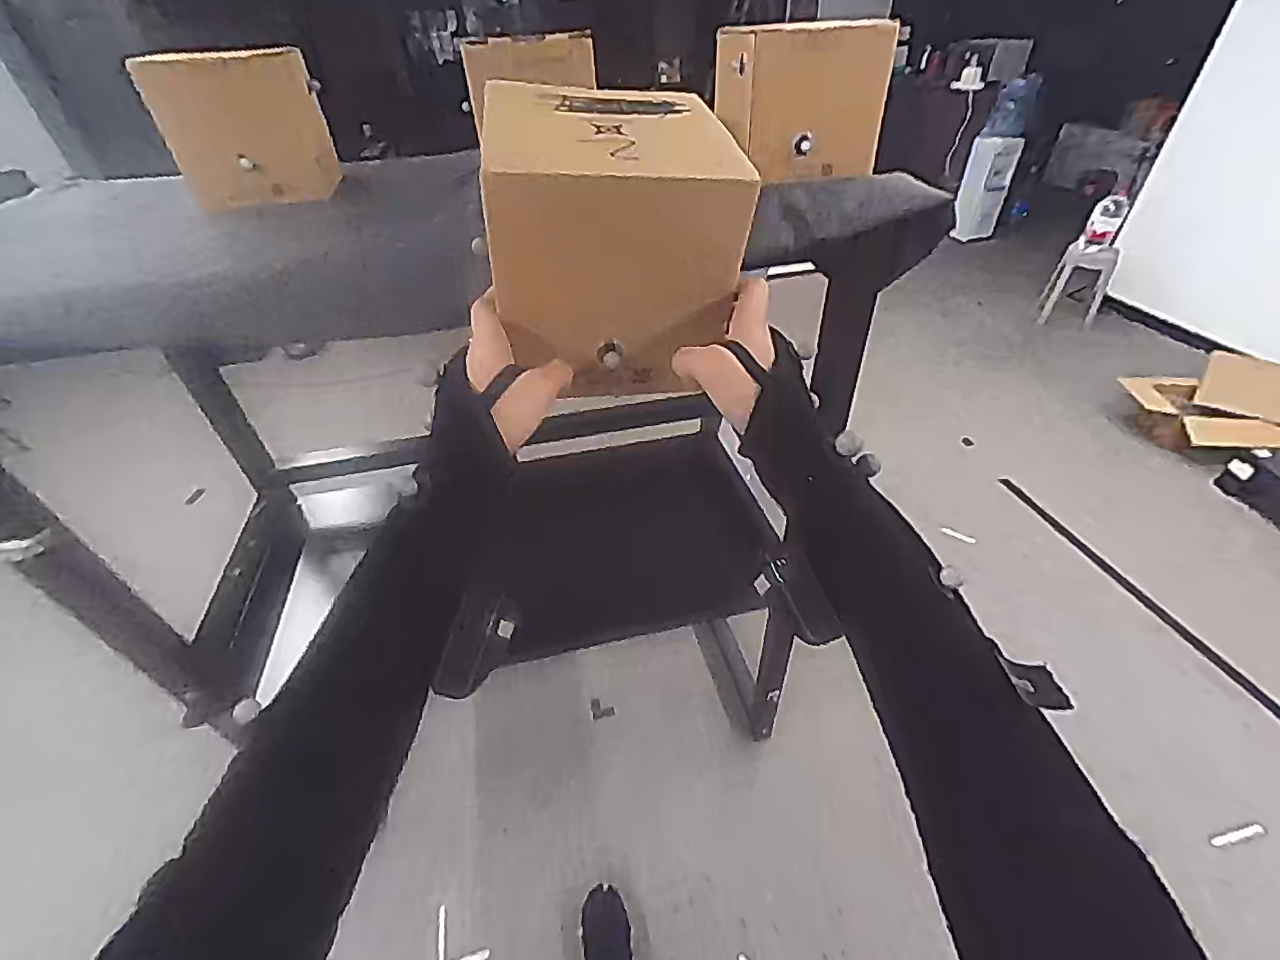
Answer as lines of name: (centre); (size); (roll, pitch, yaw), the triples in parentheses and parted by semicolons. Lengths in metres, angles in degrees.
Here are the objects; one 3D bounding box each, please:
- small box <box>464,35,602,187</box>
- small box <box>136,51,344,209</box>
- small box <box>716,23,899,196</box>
small box: (-0.156, -0.543, 0.802); (0.168, 0.176, 0.179); (-12, 40, -10)
small box: (-0.545, -0.500, 0.773); (0.168, 0.176, 0.179); (-12, 42, -11)
small box: (0.200, -0.484, 0.709); (0.168, 0.176, 0.179); (-8, 41, -4)
